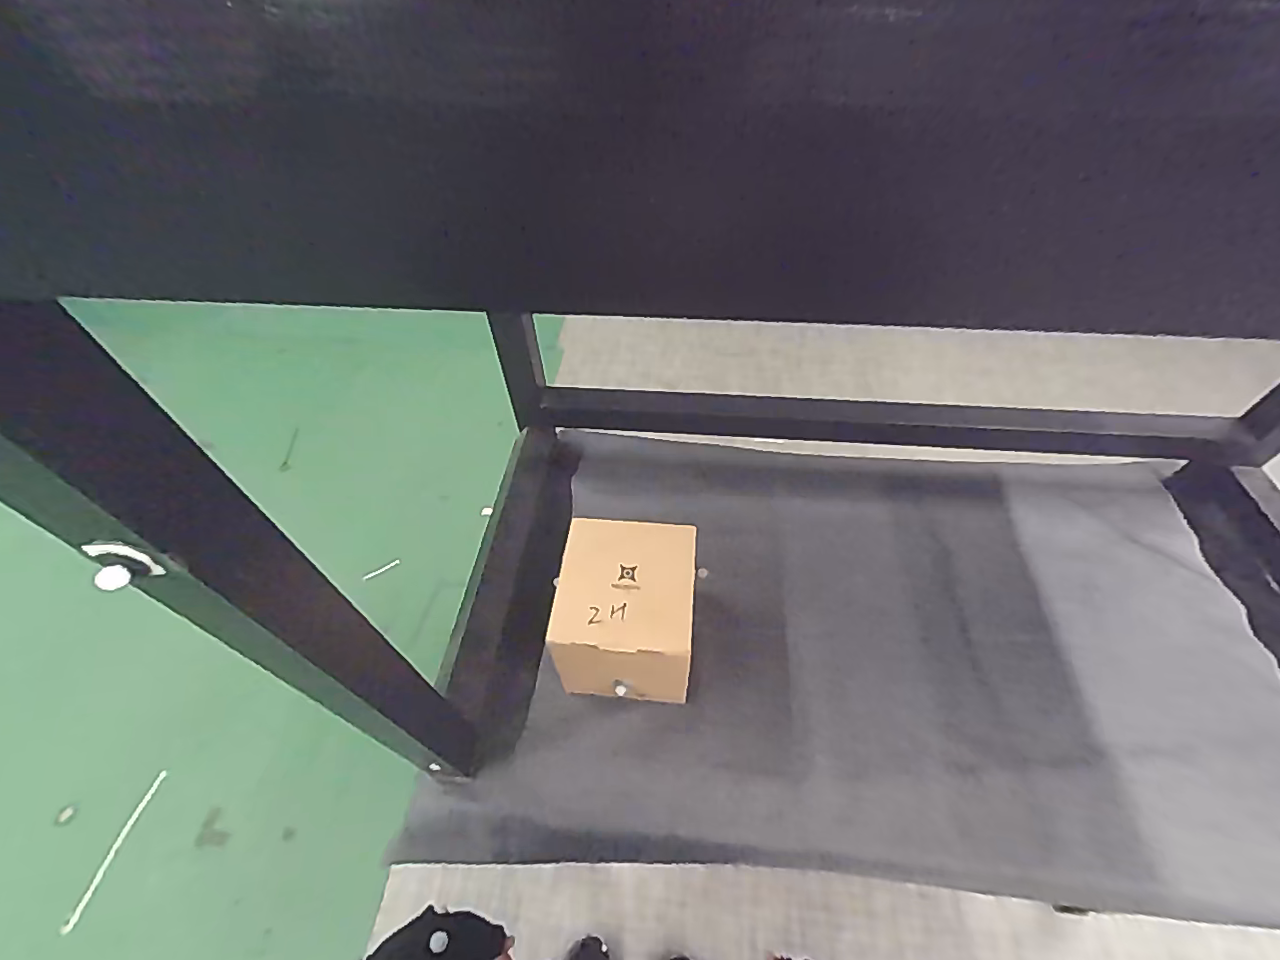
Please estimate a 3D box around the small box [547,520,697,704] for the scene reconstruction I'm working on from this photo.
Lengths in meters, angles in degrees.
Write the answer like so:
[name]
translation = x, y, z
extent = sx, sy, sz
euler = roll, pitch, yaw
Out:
[small box]
translation = -0.015, 0.176, 0.719
extent = 0.168, 0.176, 0.179
euler = 3, 50, 5
